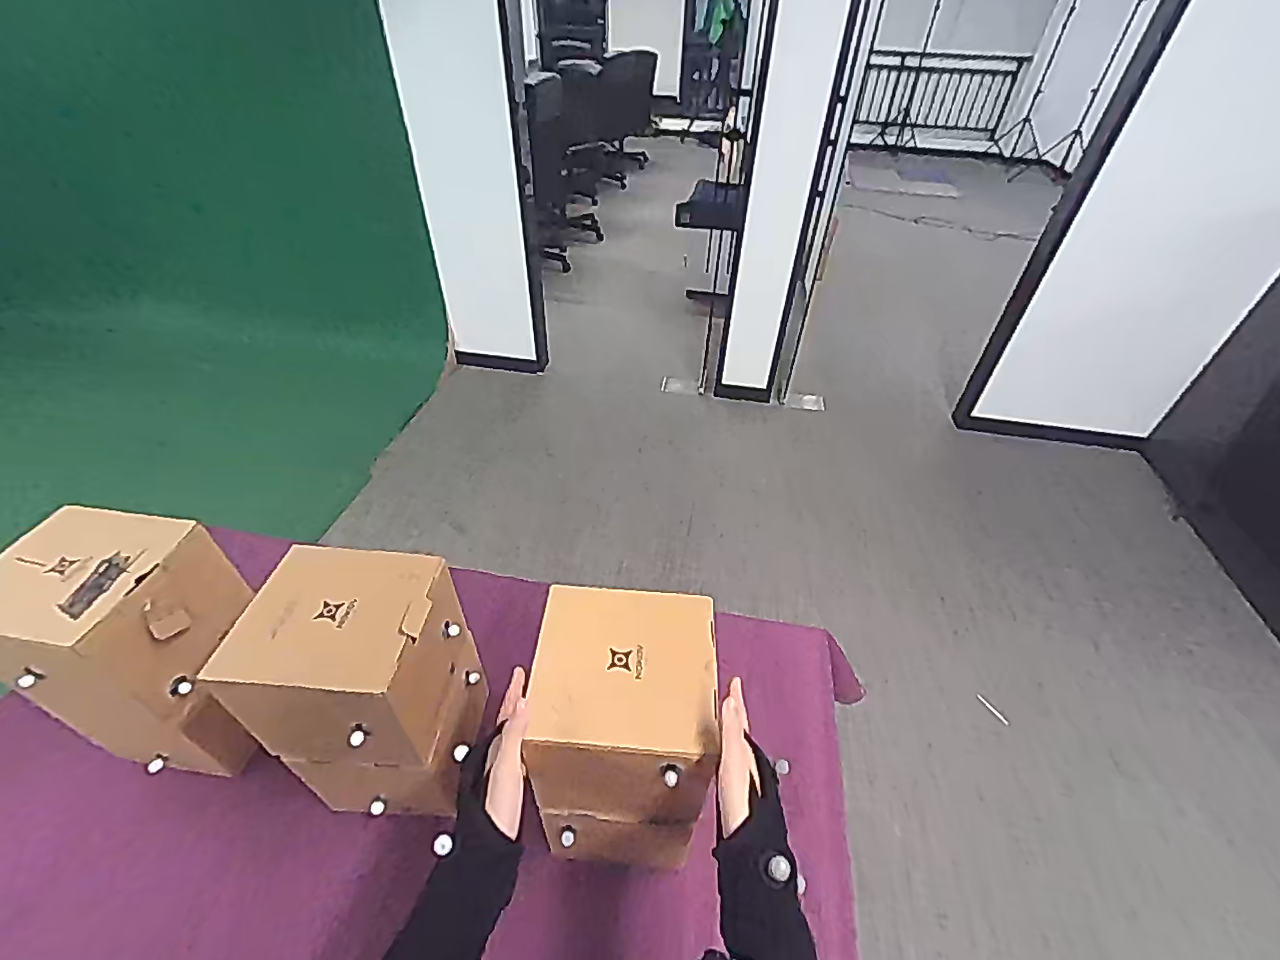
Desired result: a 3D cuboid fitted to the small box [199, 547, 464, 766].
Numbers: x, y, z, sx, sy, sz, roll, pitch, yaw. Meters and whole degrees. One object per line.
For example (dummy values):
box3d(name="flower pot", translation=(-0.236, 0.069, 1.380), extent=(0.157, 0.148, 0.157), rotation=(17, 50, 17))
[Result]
box3d(name="small box", translation=(-0.315, 0.198, 0.604), extent=(0.179, 0.176, 0.168), rotation=(4, 41, 3))

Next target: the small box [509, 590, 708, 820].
box3d(name="small box", translation=(-0.023, 0.238, 0.574), extent=(0.179, 0.176, 0.168), rotation=(4, 42, 2))

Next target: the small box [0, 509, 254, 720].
box3d(name="small box", translation=(-0.606, 0.159, 0.630), extent=(0.179, 0.176, 0.168), rotation=(6, 42, 5))

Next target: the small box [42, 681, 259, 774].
box3d(name="small box", translation=(-0.612, 0.281, 0.741), extent=(0.179, 0.176, 0.168), rotation=(7, 42, 5))

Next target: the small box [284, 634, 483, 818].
box3d(name="small box", translation=(-0.317, 0.318, 0.716), extent=(0.168, 0.176, 0.179), rotation=(3, 43, 1))
